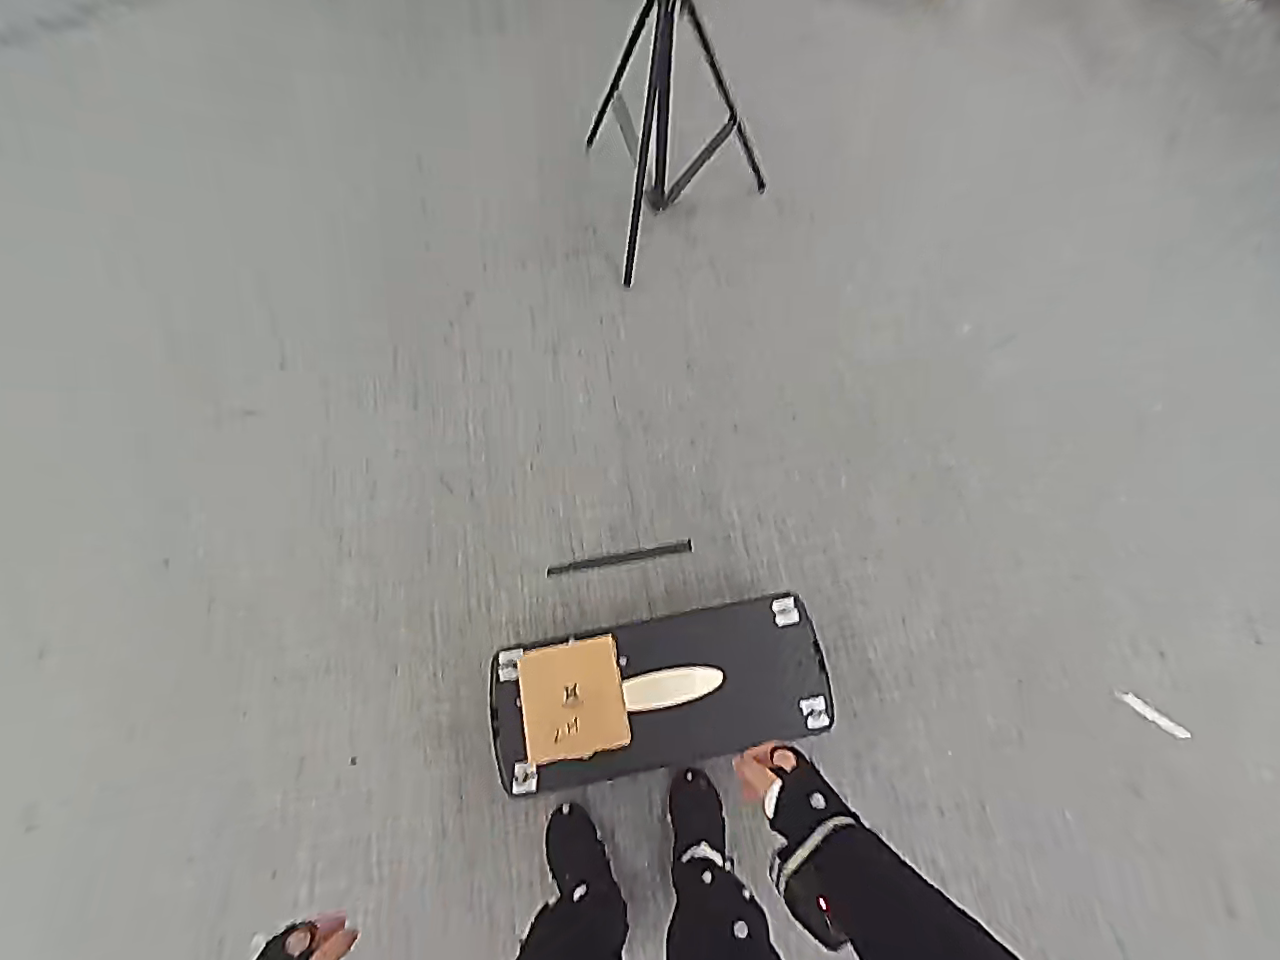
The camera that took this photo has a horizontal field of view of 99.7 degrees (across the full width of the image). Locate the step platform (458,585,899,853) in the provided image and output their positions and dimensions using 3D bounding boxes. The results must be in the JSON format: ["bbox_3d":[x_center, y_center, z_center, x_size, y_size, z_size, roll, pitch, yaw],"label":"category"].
[{"bbox_3d":[0.057,0.393,0.934,0.684,0.204,0.286,-10,69,-5],"label":"step platform"}]

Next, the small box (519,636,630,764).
[{"bbox_3d":[-0.114,0.390,0.971,0.168,0.176,0.179,-11,70,-4],"label":"small box"}]
